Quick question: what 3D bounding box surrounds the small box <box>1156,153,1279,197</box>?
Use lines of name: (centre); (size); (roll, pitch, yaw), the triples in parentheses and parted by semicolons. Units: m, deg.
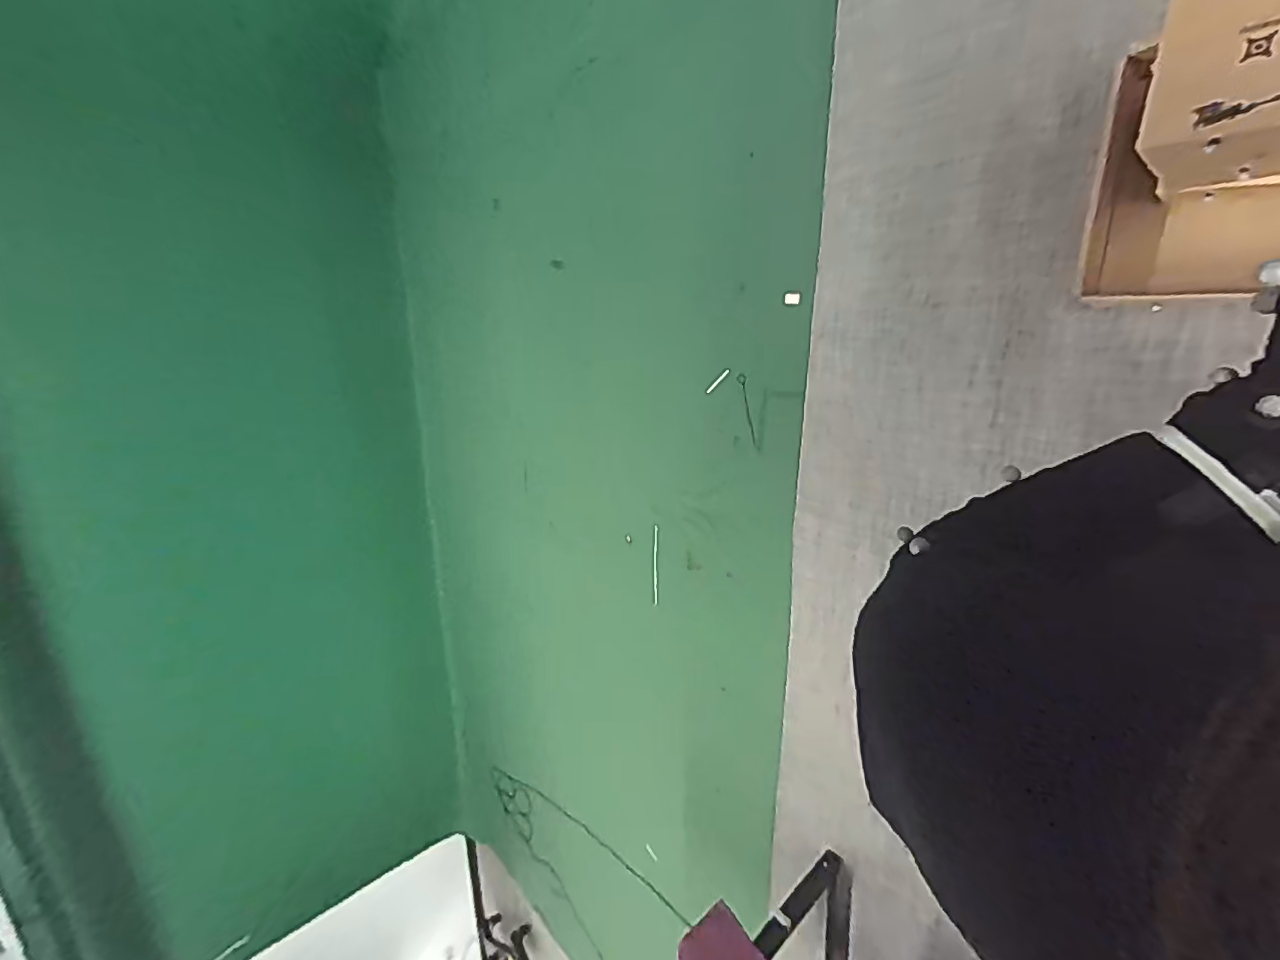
small box: (0.941, -0.543, 0.830); (0.168, 0.176, 0.179); (21, 116, 43)

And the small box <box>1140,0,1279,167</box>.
small box: (0.705, -0.479, 0.610); (0.168, 0.176, 0.179); (19, 115, 45)
